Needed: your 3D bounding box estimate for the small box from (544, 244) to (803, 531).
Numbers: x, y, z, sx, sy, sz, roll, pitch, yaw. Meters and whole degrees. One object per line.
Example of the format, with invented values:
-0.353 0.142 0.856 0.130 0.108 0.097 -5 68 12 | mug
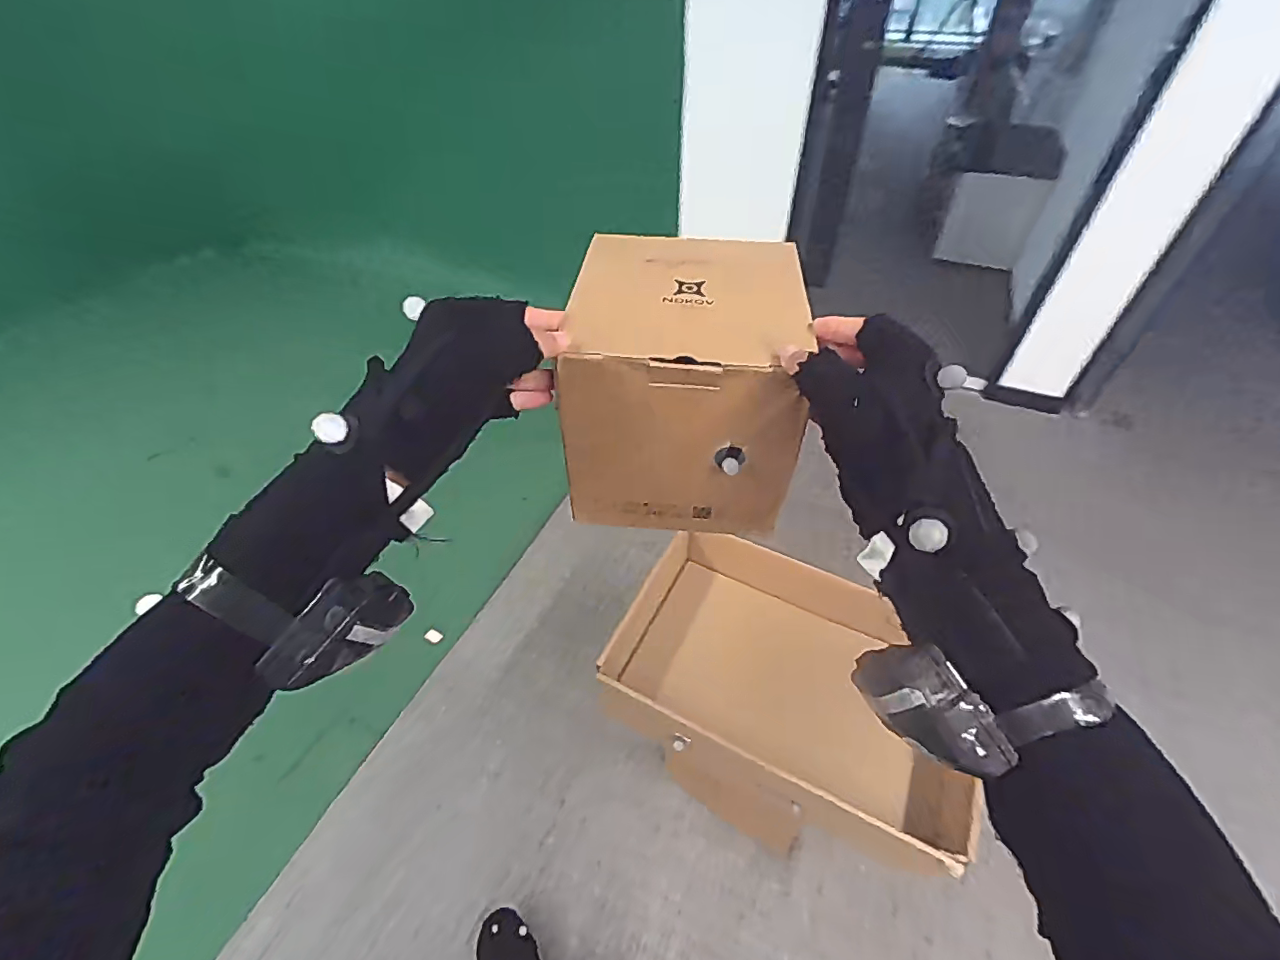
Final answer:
0.026 -0.075 0.448 0.168 0.176 0.179 3 46 2 | small box
